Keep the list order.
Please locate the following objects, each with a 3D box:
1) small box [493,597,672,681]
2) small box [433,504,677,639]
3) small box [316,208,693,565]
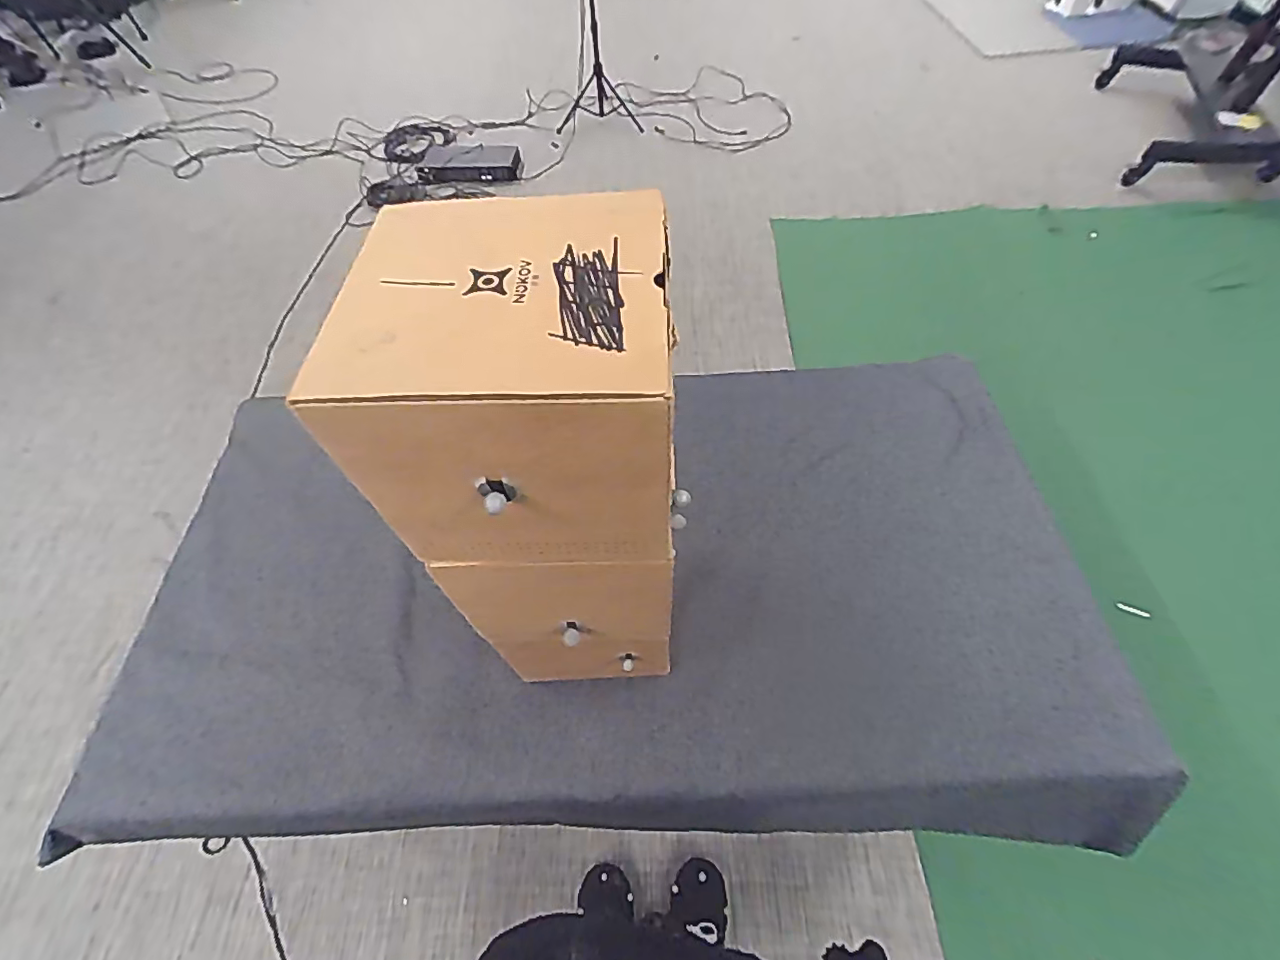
[{"bbox_3d":[-0.057,0.127,0.632,0.179,0.176,0.168,-5,55,1],"label":"small box"},{"bbox_3d":[-0.061,0.039,0.495,0.179,0.176,0.168,-2,56,0],"label":"small box"},{"bbox_3d":[-0.066,-0.053,0.358,0.179,0.176,0.168,-3,56,-1],"label":"small box"}]
